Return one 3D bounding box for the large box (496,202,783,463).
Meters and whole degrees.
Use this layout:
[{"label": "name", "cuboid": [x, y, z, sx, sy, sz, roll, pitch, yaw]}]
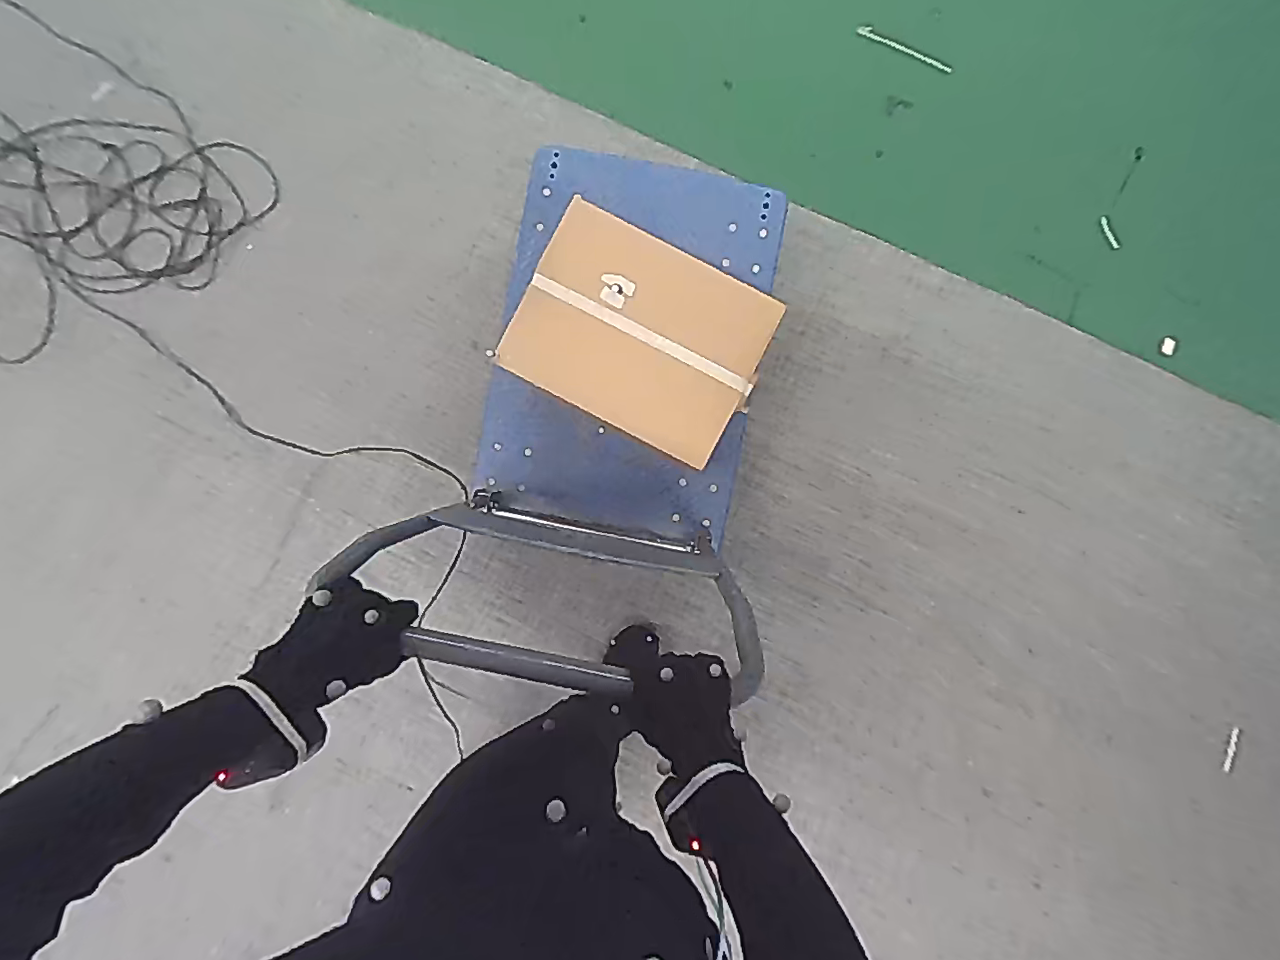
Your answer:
[{"label": "large box", "cuboid": [0.004, -0.251, 1.052, 0.408, 0.320, 0.320, 26, 92, 1]}]
